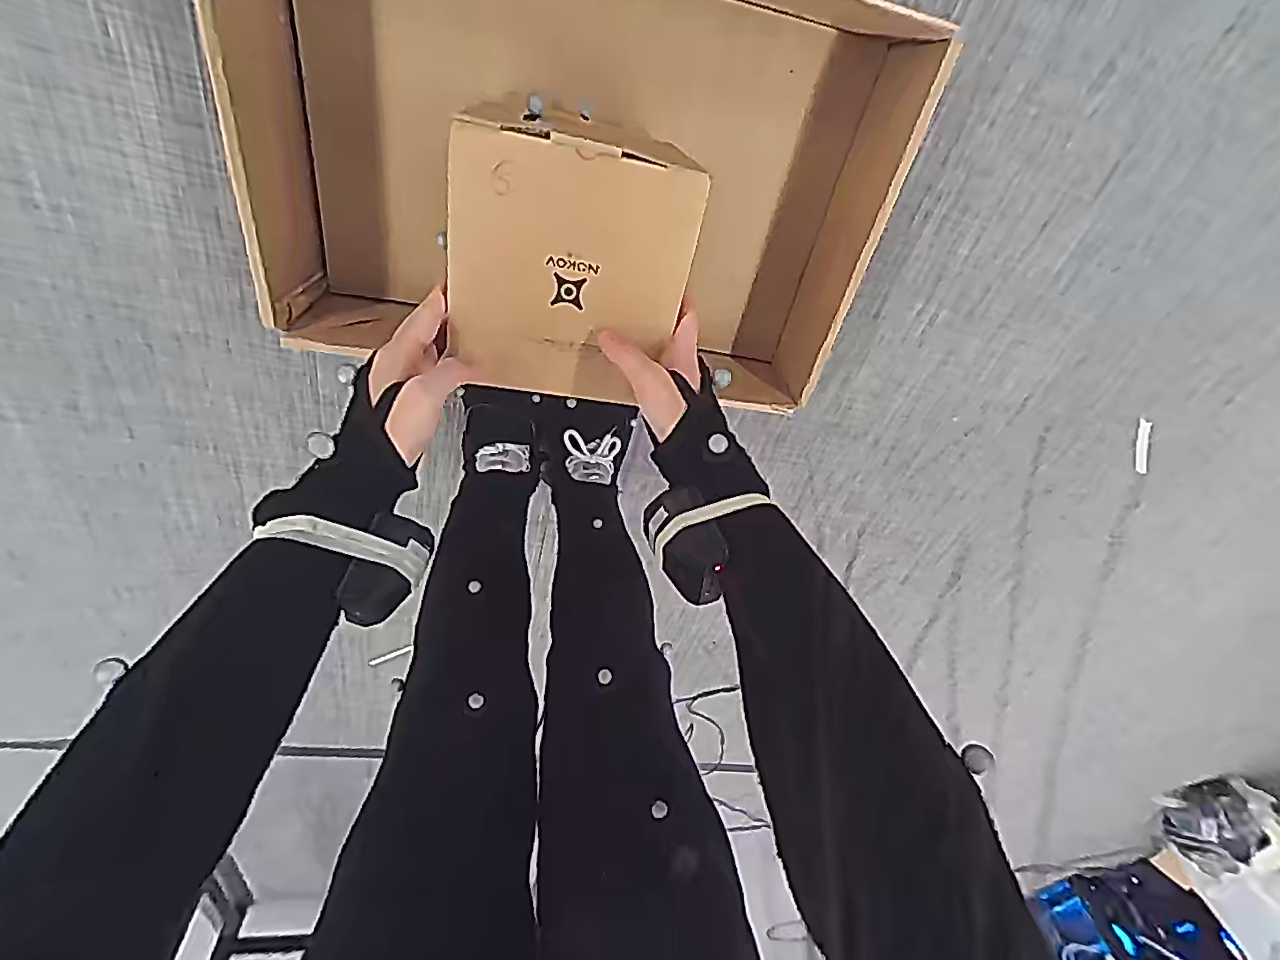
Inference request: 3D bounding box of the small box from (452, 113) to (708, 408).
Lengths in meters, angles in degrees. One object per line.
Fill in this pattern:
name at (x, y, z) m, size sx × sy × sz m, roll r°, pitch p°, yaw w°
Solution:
small box at (-0.058, -0.185, 0.451) m, size 0.168 × 0.176 × 0.179 m, roll 6°, pitch 127°, yaw -11°
